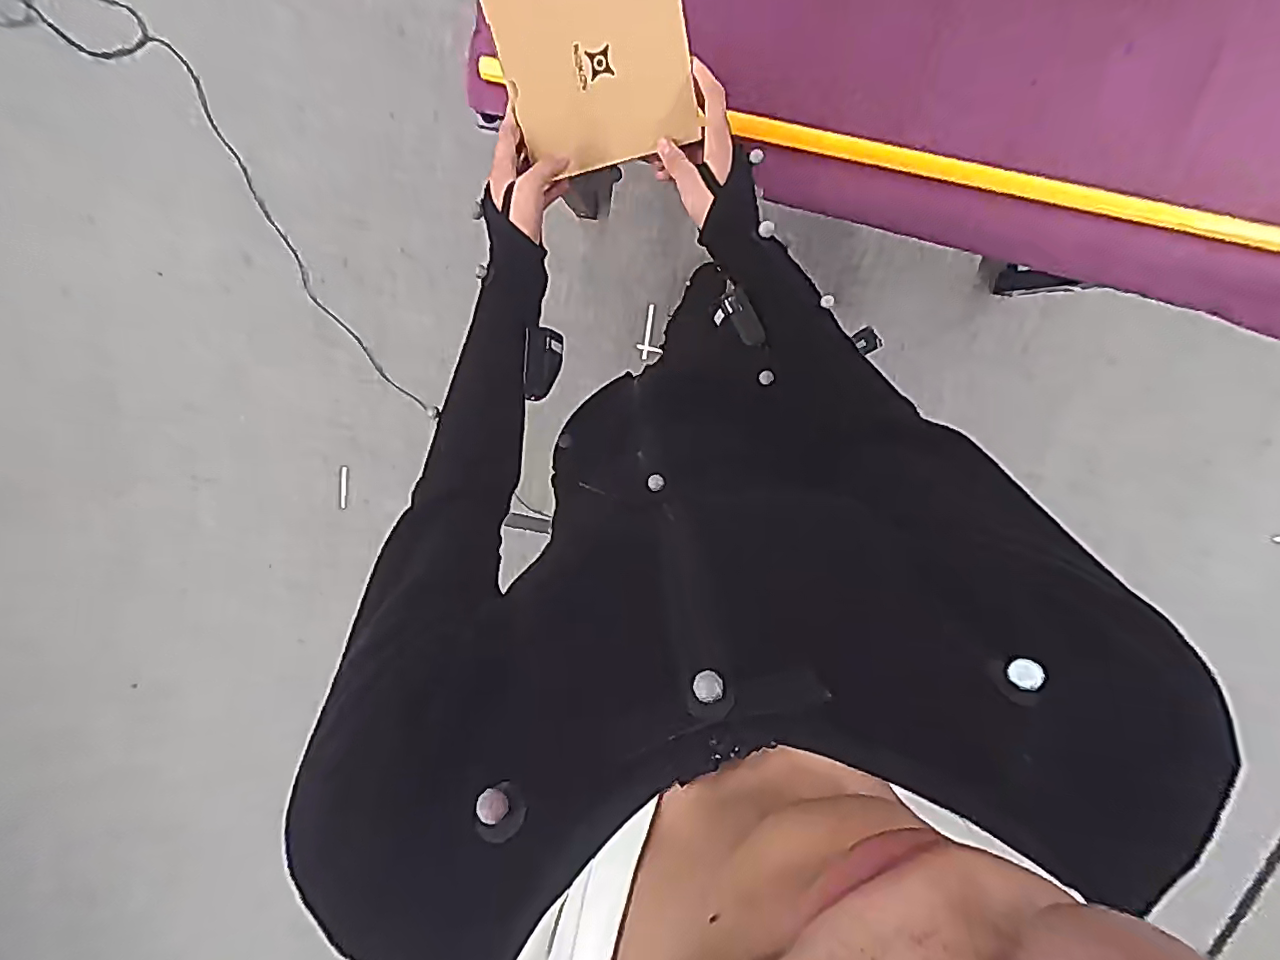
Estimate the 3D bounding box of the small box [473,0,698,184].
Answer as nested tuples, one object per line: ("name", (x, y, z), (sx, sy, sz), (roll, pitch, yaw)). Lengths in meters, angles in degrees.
("small box", (-0.045, -0.425, 0.558), (0.179, 0.176, 0.168), (-11, 122, 9))
